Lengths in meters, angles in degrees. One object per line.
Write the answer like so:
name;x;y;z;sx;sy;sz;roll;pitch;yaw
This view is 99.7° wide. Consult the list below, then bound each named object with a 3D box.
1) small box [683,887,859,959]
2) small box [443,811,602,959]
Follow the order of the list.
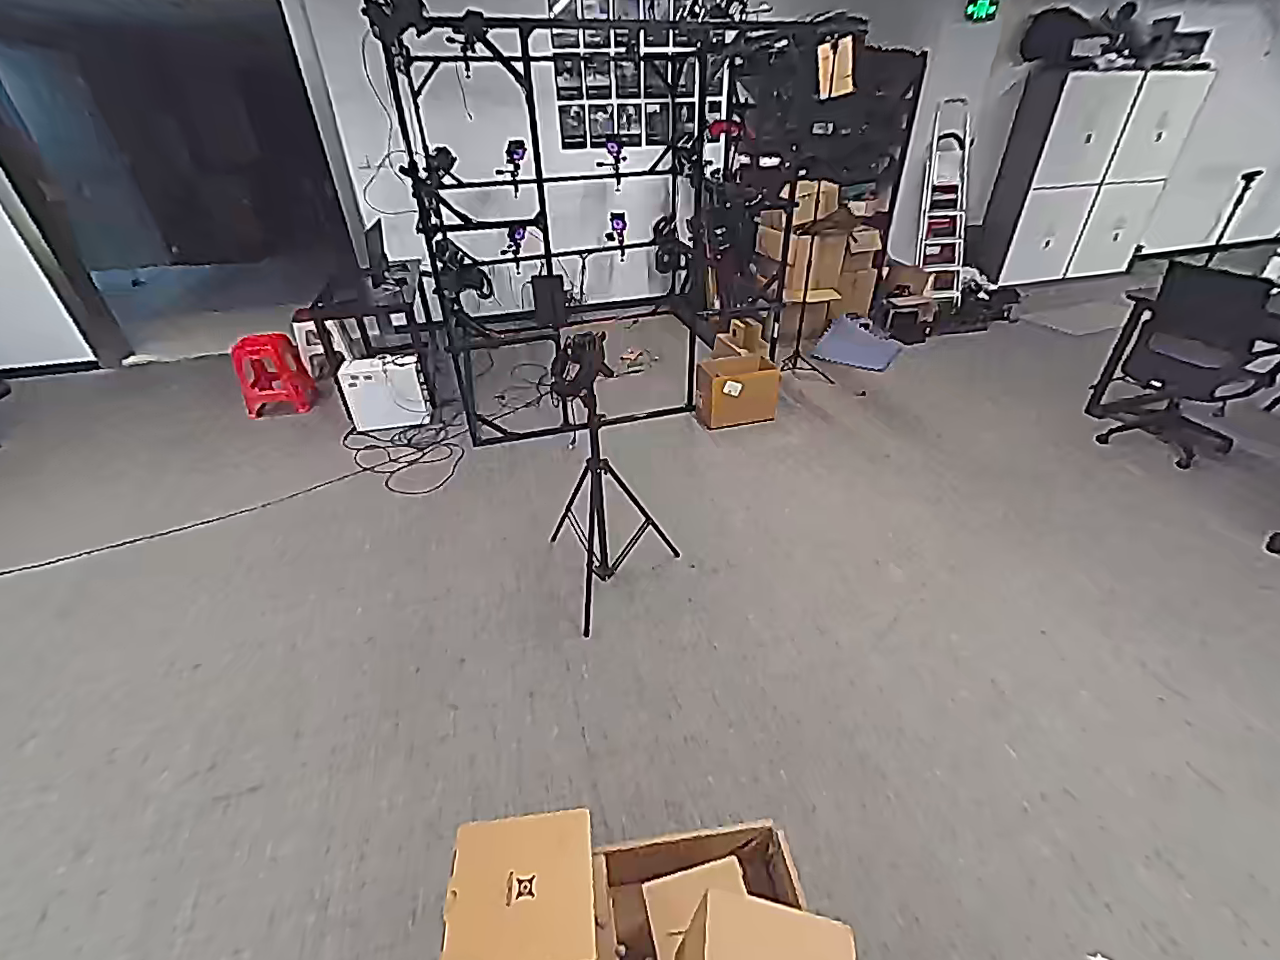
small box;0.135;0.602;0.594;0.179;0.176;0.168;15;27;3
small box;-0.140;0.561;0.695;0.179;0.176;0.168;-4;33;-6
